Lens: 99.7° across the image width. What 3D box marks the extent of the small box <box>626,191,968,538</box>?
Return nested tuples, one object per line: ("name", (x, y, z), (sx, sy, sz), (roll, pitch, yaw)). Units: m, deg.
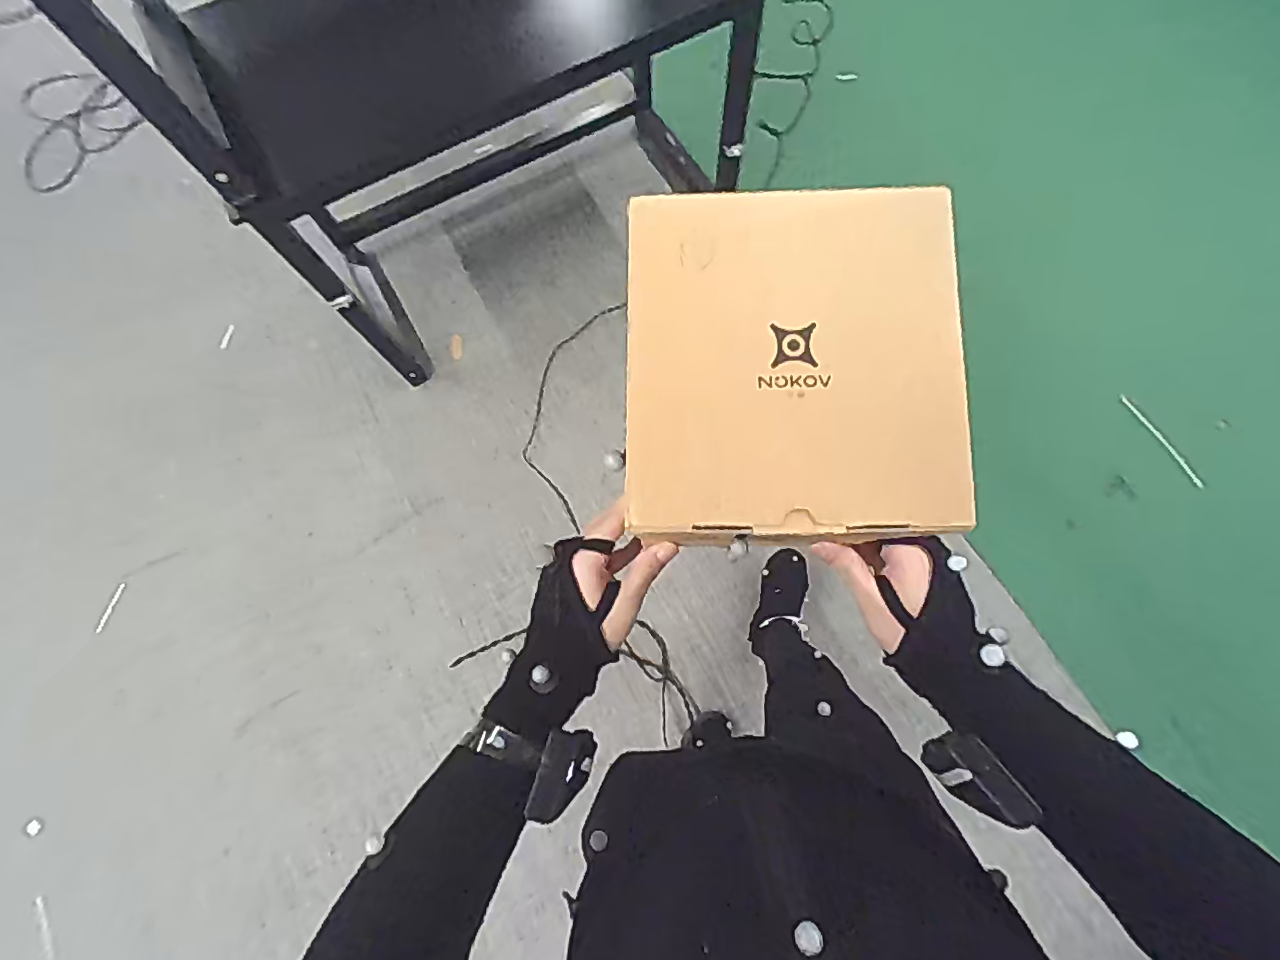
("small box", (0.077, -0.053, 0.349), (0.168, 0.176, 0.179), (-1, 83, 2))
